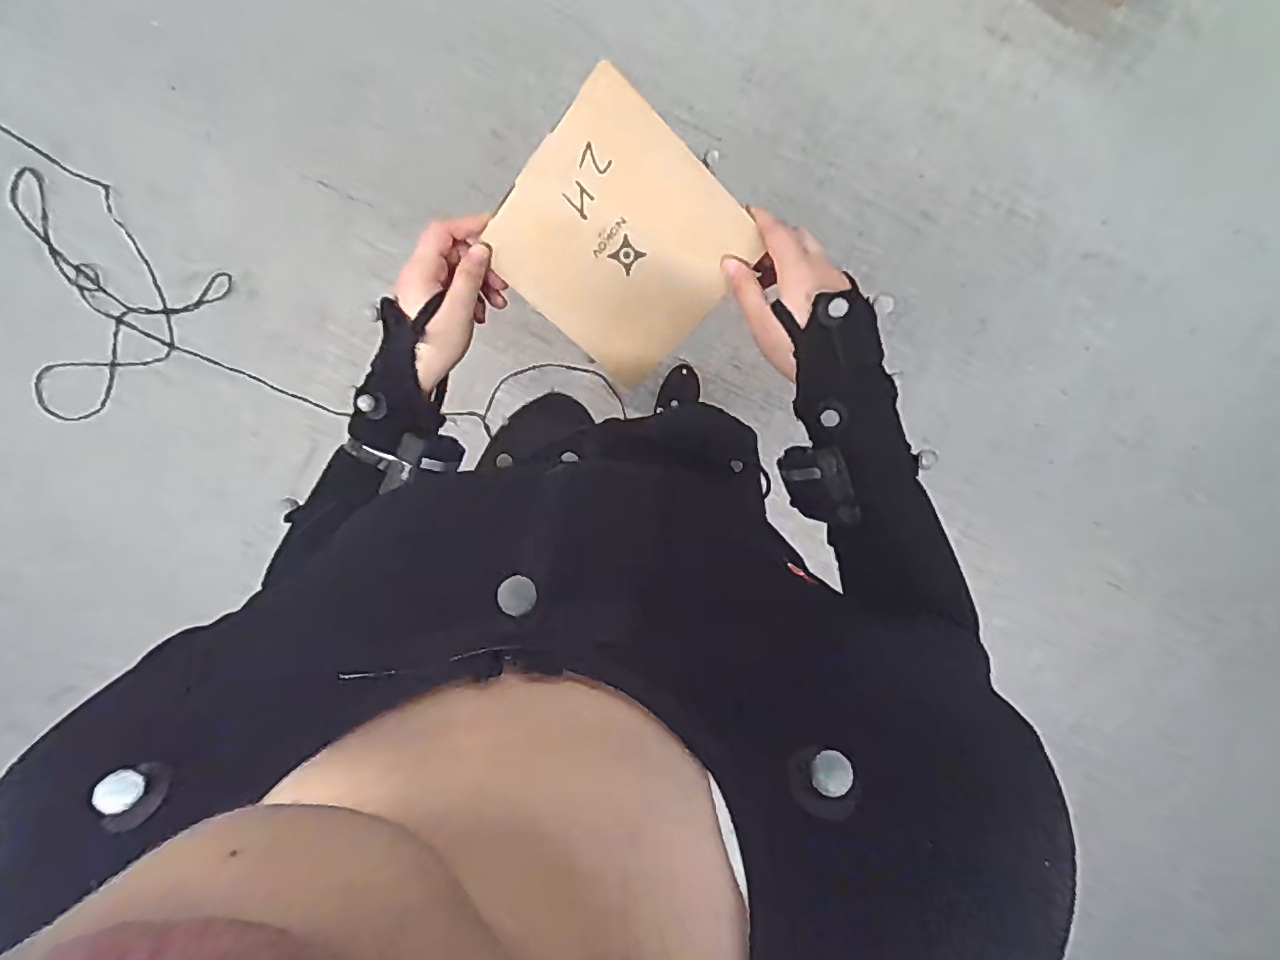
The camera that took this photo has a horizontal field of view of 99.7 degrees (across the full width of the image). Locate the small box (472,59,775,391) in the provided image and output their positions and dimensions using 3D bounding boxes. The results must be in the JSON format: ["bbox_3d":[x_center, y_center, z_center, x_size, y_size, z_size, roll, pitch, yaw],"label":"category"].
[{"bbox_3d":[-0.009,-0.216,0.481,0.179,0.176,0.168,39,113,-16],"label":"small box"}]
